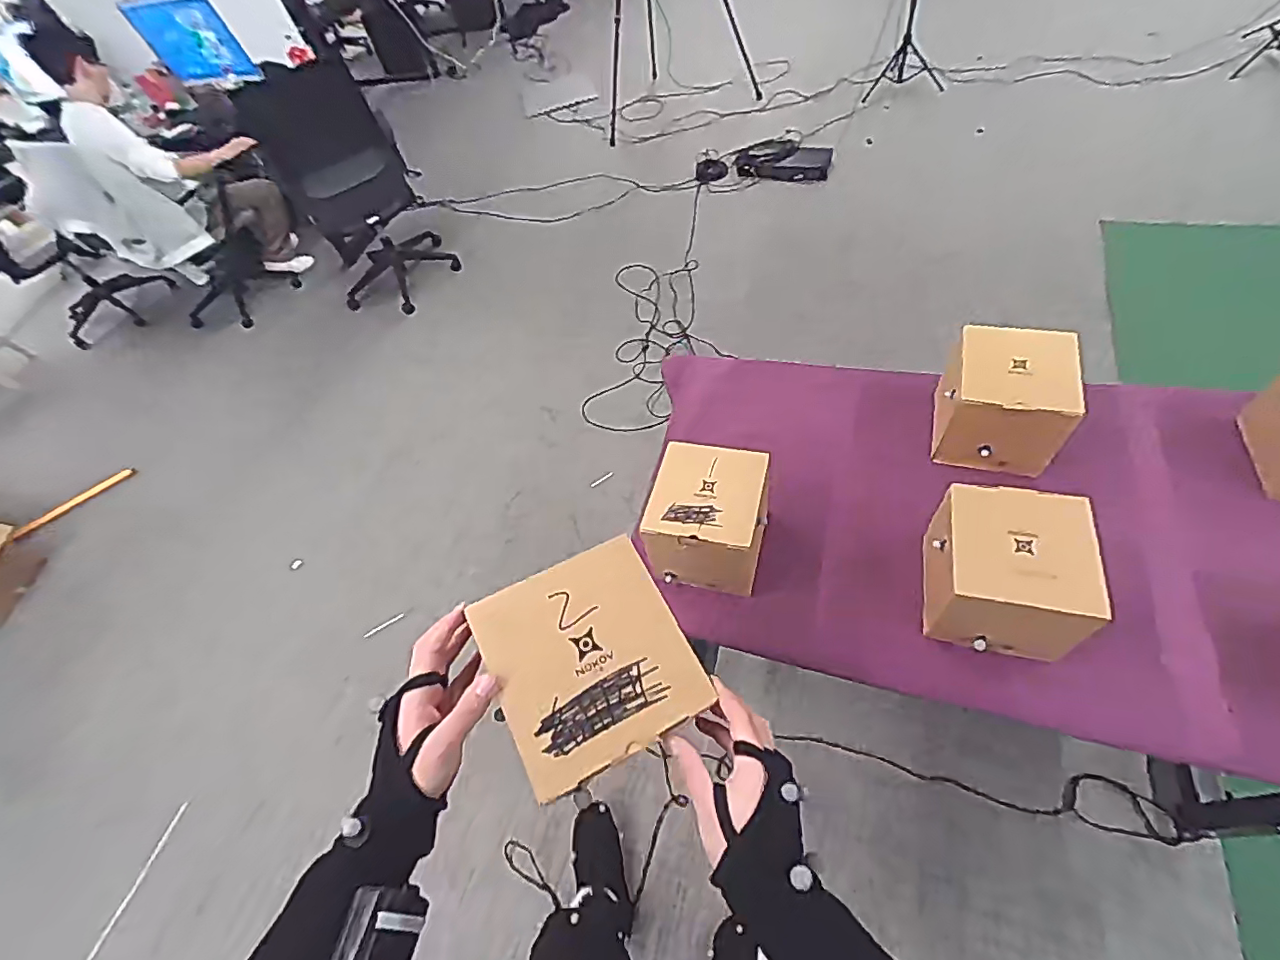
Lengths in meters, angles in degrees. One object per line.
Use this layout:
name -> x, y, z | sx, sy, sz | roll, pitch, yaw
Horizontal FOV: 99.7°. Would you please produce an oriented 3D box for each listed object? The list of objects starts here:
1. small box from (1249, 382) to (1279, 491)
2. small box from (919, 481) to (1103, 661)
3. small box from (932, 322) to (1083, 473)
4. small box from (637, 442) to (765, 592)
small box -> 1.034, -0.080, 0.764 | 0.168, 0.176, 0.179 | 6, 59, 21
small box -> 0.499, 0.128, 0.756 | 0.168, 0.176, 0.179 | 8, 58, 19
small box -> 0.607, -0.138, 0.912 | 0.168, 0.176, 0.179 | 10, 61, 19
small box -> 0.110, 0.064, 0.890 | 0.168, 0.176, 0.179 | 9, 57, 18
